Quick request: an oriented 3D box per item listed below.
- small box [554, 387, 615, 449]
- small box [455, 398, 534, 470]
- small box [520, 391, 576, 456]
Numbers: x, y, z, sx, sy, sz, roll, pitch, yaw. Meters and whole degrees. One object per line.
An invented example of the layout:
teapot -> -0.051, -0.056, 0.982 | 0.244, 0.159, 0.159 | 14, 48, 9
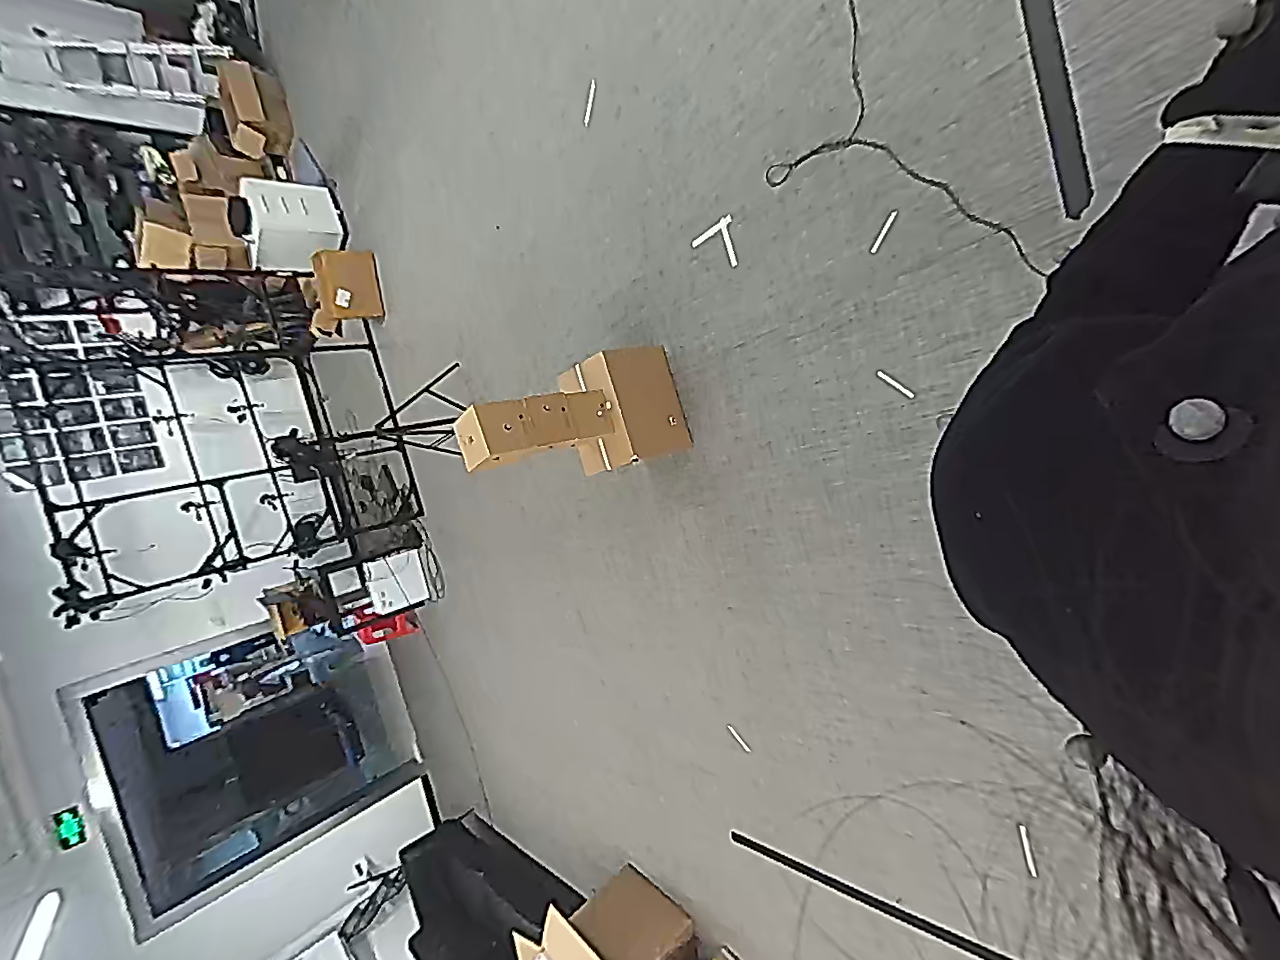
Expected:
small box -> -0.217, -0.221, 1.920 | 0.179, 0.176, 0.168 | -17, 91, 49
small box -> -0.453, -0.147, 1.705 | 0.179, 0.176, 0.168 | -25, 83, 49
small box -> -0.332, -0.189, 1.810 | 0.179, 0.176, 0.168 | -19, 88, 50
